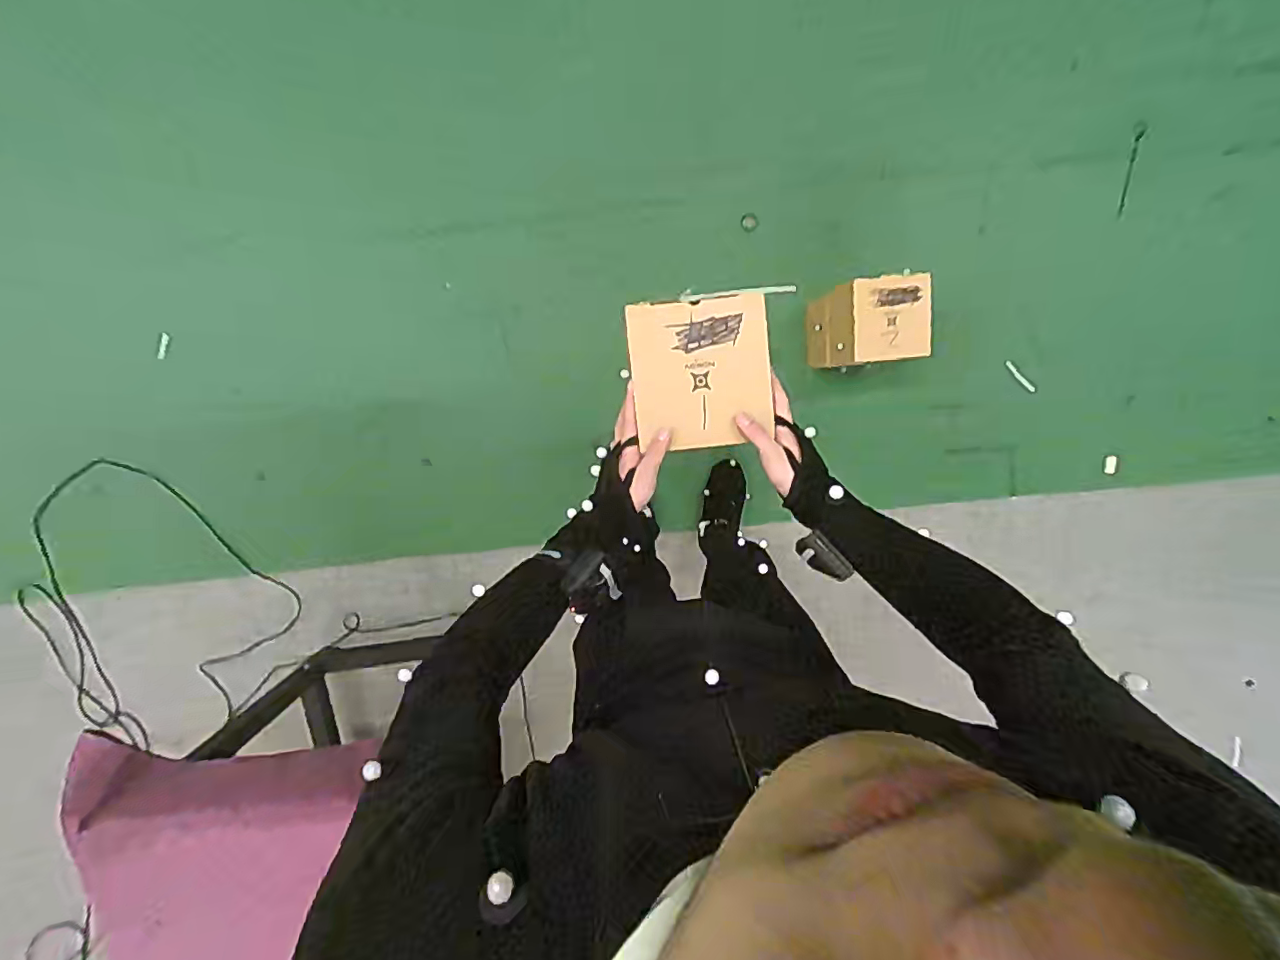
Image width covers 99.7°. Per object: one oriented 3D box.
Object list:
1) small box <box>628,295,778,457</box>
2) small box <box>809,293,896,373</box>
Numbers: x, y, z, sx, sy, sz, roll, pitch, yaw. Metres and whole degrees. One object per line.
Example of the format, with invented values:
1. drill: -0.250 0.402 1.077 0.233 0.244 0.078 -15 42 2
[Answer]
1. small box: 0.072 -0.127 0.707 0.168 0.176 0.179 -6 96 0
2. small box: 0.543 -0.375 1.399 0.168 0.176 0.179 -4 99 2
